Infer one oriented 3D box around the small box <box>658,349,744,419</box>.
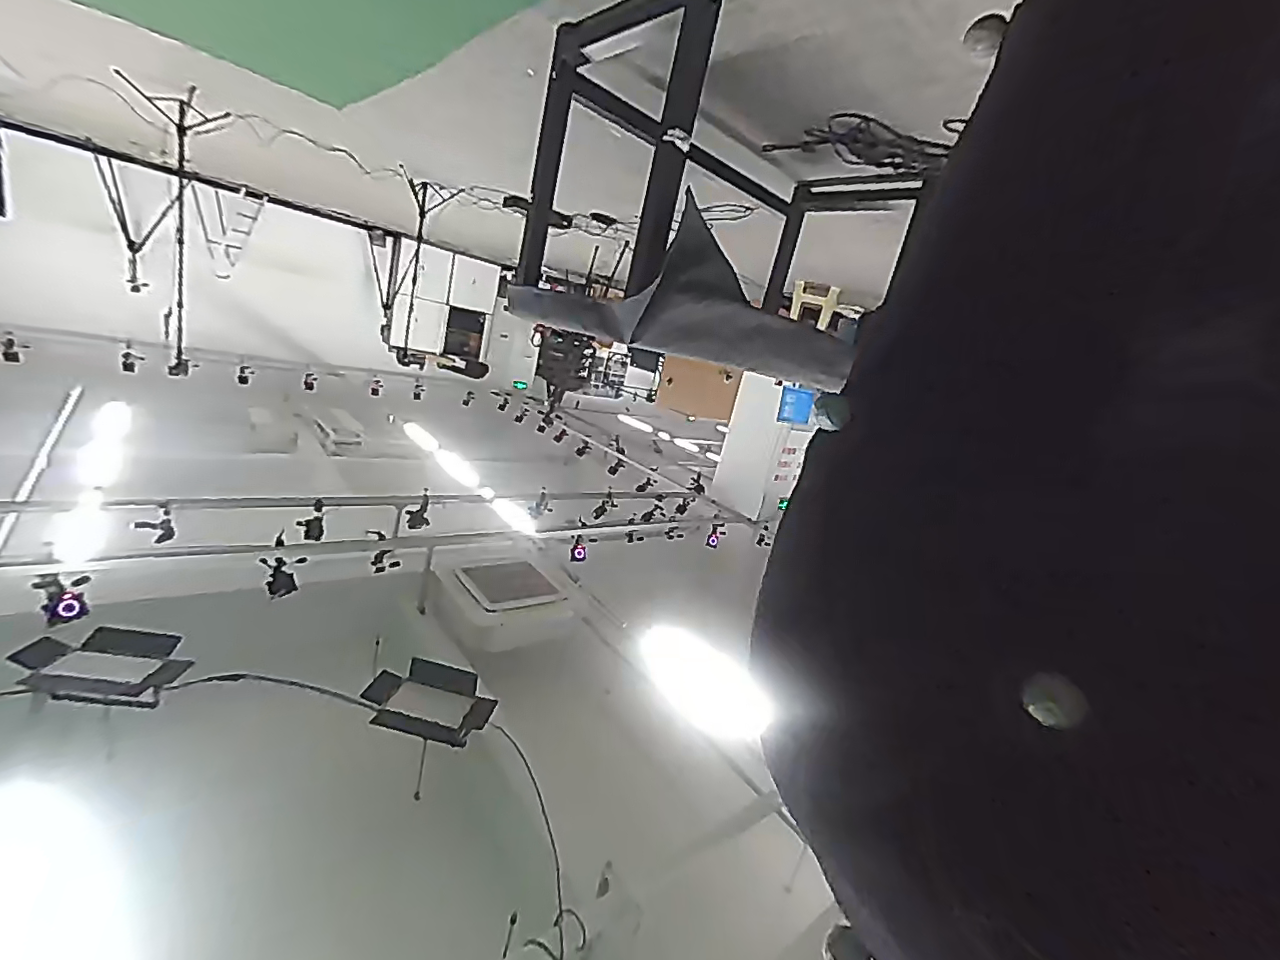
[{"bbox_3d":[0.183,-0.289,1.611,0.168,0.176,0.179,-2,-159,-42],"label":"small box"}]
